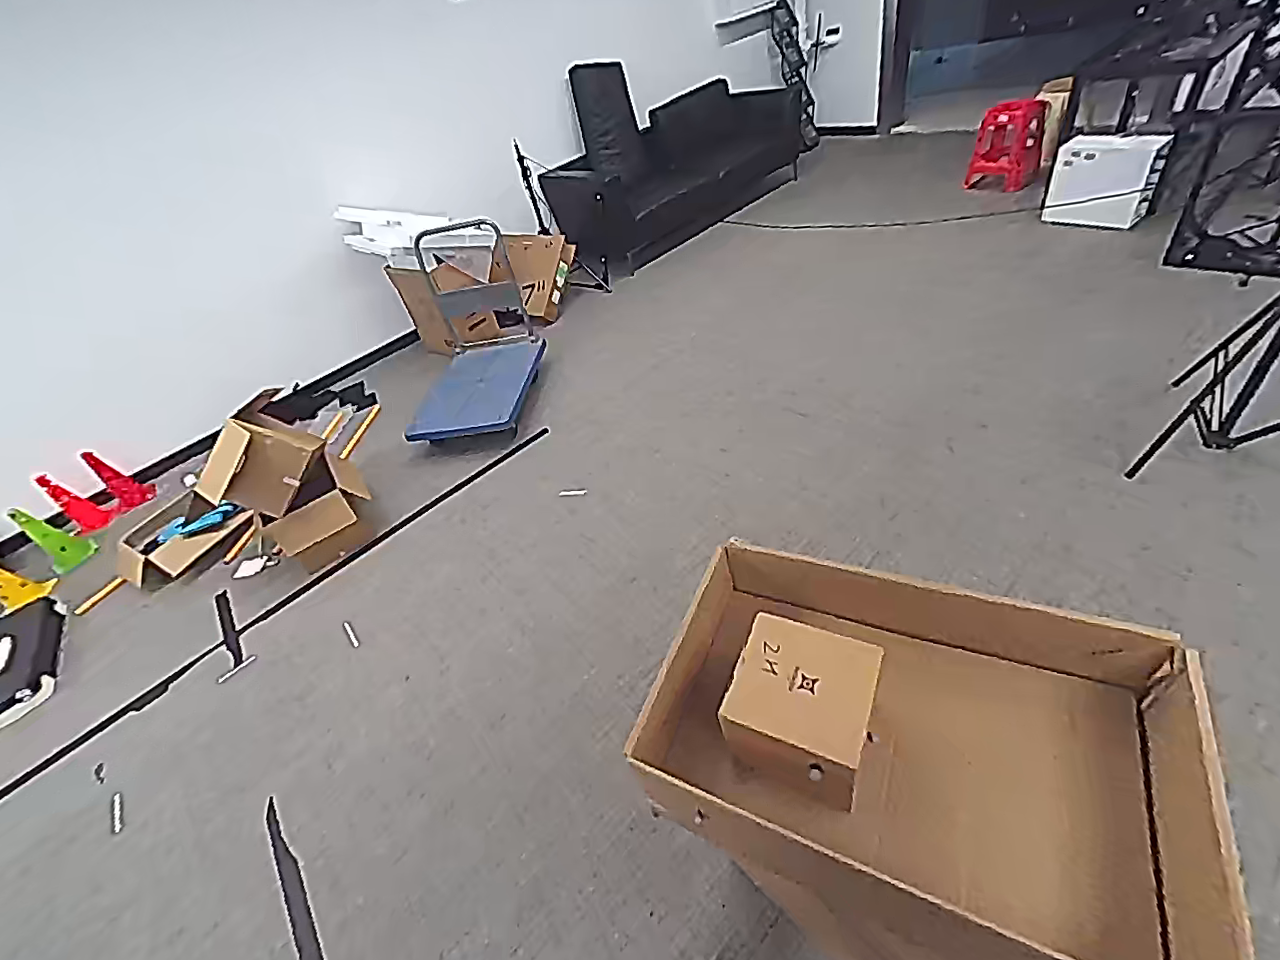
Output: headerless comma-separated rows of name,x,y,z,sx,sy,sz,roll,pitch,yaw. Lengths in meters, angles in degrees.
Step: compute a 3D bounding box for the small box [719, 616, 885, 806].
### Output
small box,0.231,0.326,0.761,0.179,0.176,0.168,11,48,29
